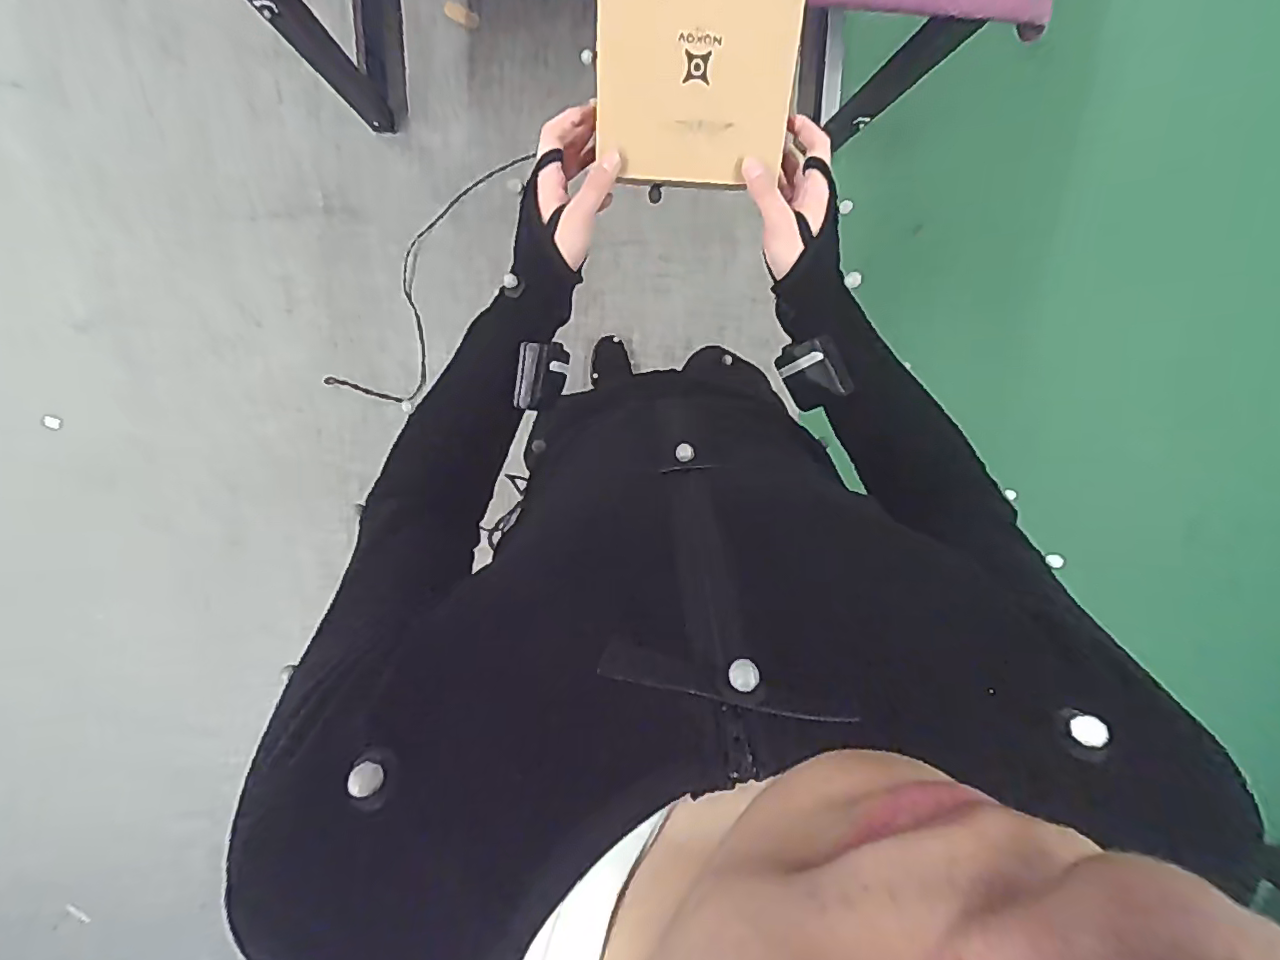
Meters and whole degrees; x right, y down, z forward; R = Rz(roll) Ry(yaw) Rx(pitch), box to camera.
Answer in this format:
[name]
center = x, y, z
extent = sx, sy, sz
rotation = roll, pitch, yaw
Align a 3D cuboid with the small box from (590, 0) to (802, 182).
[small box]
center = 0.038, -0.384, 0.504
extent = 0.168, 0.176, 0.179
rotation = 1, 118, -4
